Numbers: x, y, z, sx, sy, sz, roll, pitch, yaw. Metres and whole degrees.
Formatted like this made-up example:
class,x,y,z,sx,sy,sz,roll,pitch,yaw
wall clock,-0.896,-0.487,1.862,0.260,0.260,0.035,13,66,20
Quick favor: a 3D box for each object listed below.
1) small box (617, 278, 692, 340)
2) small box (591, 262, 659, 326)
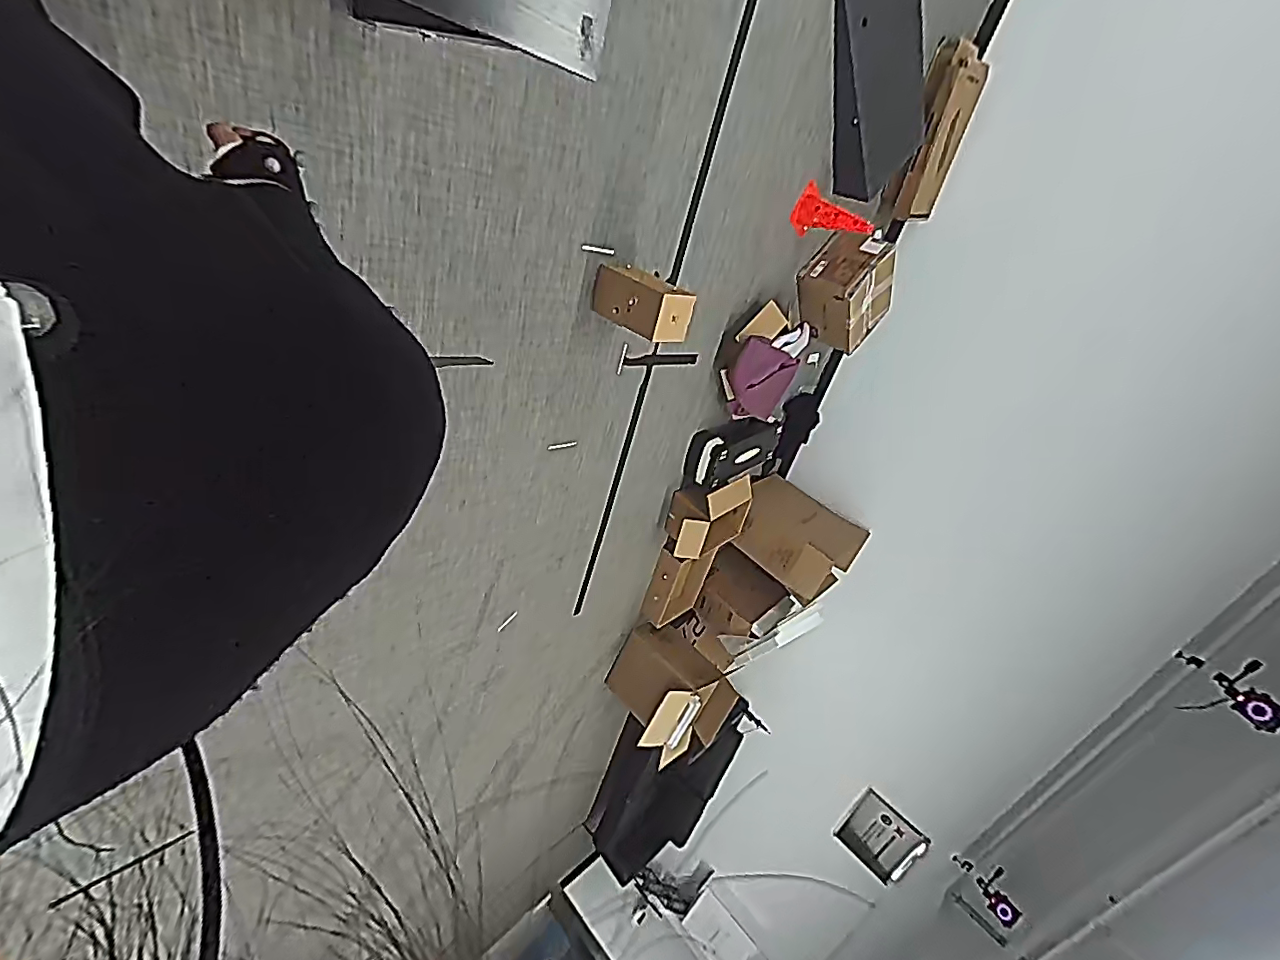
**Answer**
class,x,y,z,sx,sy,sz,roll,pitch,yaw
small box,0.048,-0.600,1.899,0.179,0.176,0.168,-15,131,-44
small box,-0.061,-0.682,1.987,0.168,0.176,0.179,-18,134,-44
